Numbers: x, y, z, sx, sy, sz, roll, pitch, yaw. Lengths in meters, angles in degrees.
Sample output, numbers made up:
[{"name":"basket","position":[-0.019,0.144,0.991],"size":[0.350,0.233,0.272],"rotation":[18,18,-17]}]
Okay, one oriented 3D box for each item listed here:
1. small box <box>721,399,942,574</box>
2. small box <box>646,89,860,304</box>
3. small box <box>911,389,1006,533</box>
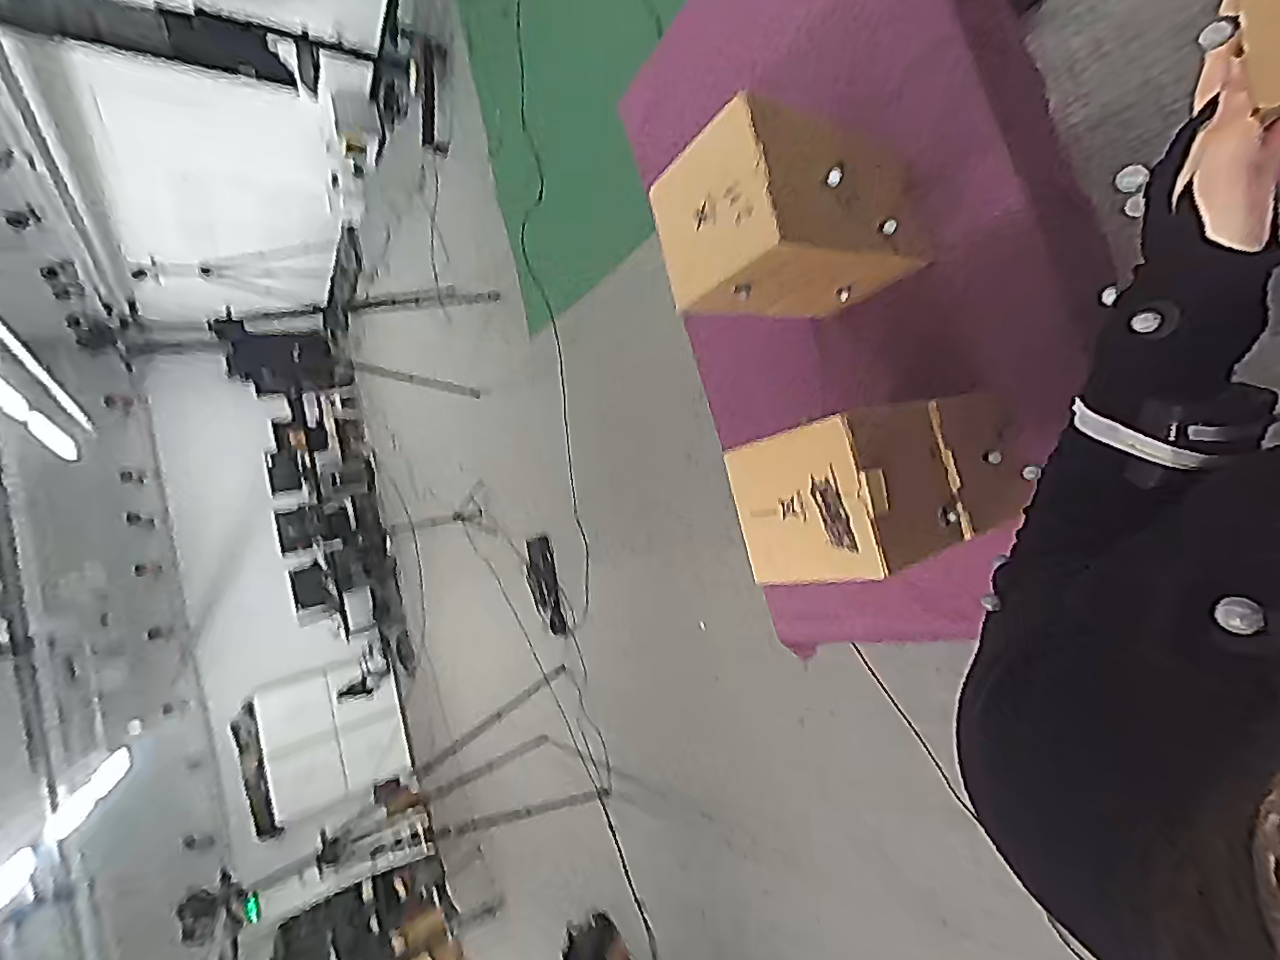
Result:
[{"name":"small box","position":[0.231,0.008,0.645],"size":[0.179,0.176,0.168],"rotation":[-17,86,55]},{"name":"small box","position":[0.137,-0.328,0.672],"size":[0.179,0.176,0.168],"rotation":[-15,88,54]},{"name":"small box","position":[0.366,-0.019,0.737],"size":[0.179,0.176,0.168],"rotation":[-19,84,53]}]
